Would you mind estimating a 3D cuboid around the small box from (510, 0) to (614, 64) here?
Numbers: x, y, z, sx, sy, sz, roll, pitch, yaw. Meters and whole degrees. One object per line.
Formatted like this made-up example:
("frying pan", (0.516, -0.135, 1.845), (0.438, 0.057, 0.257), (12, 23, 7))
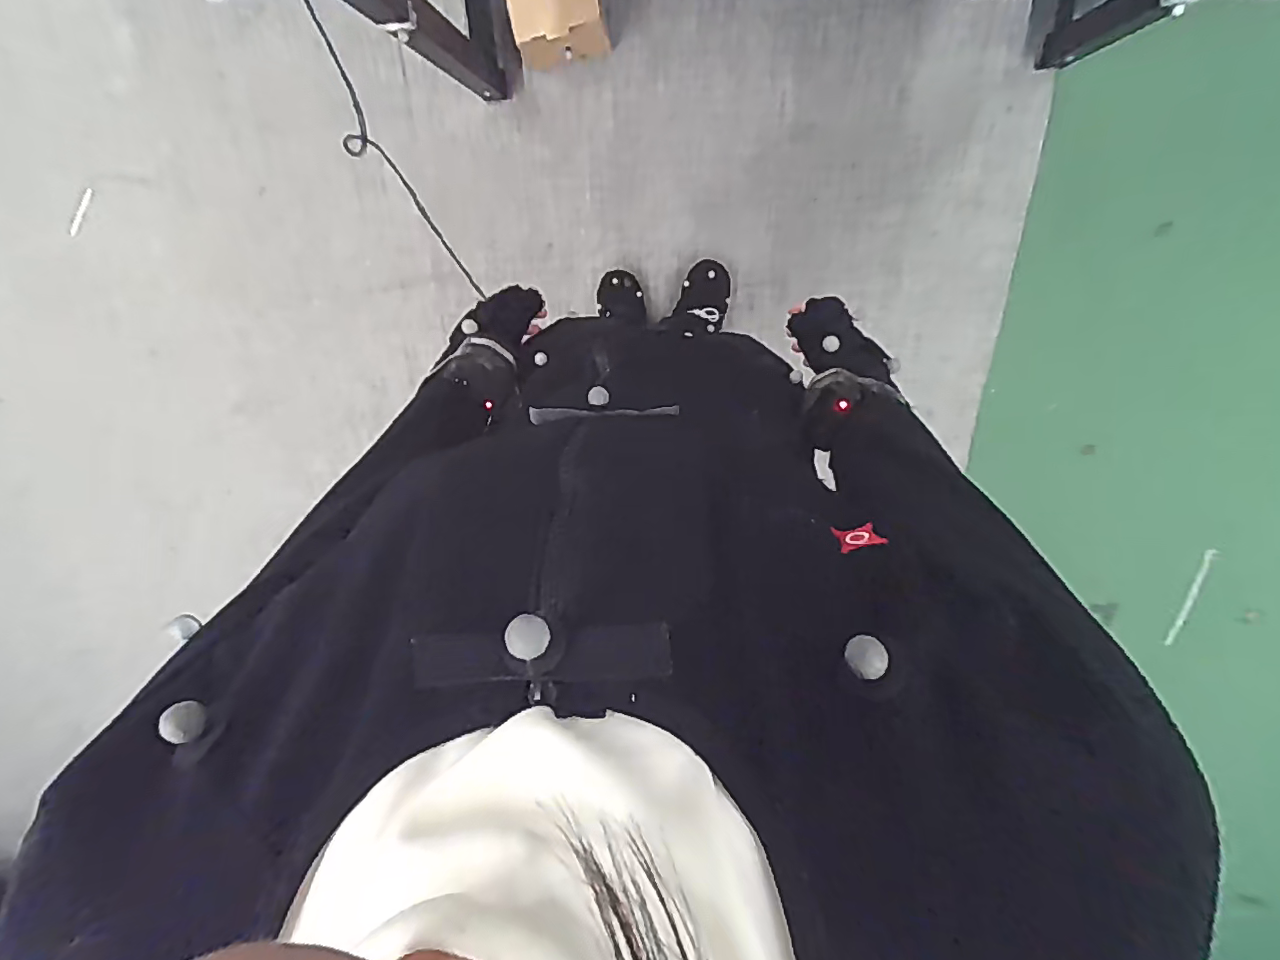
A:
("small box", (-0.152, -0.927, 1.030), (0.168, 0.176, 0.179), (-8, 113, 8))
